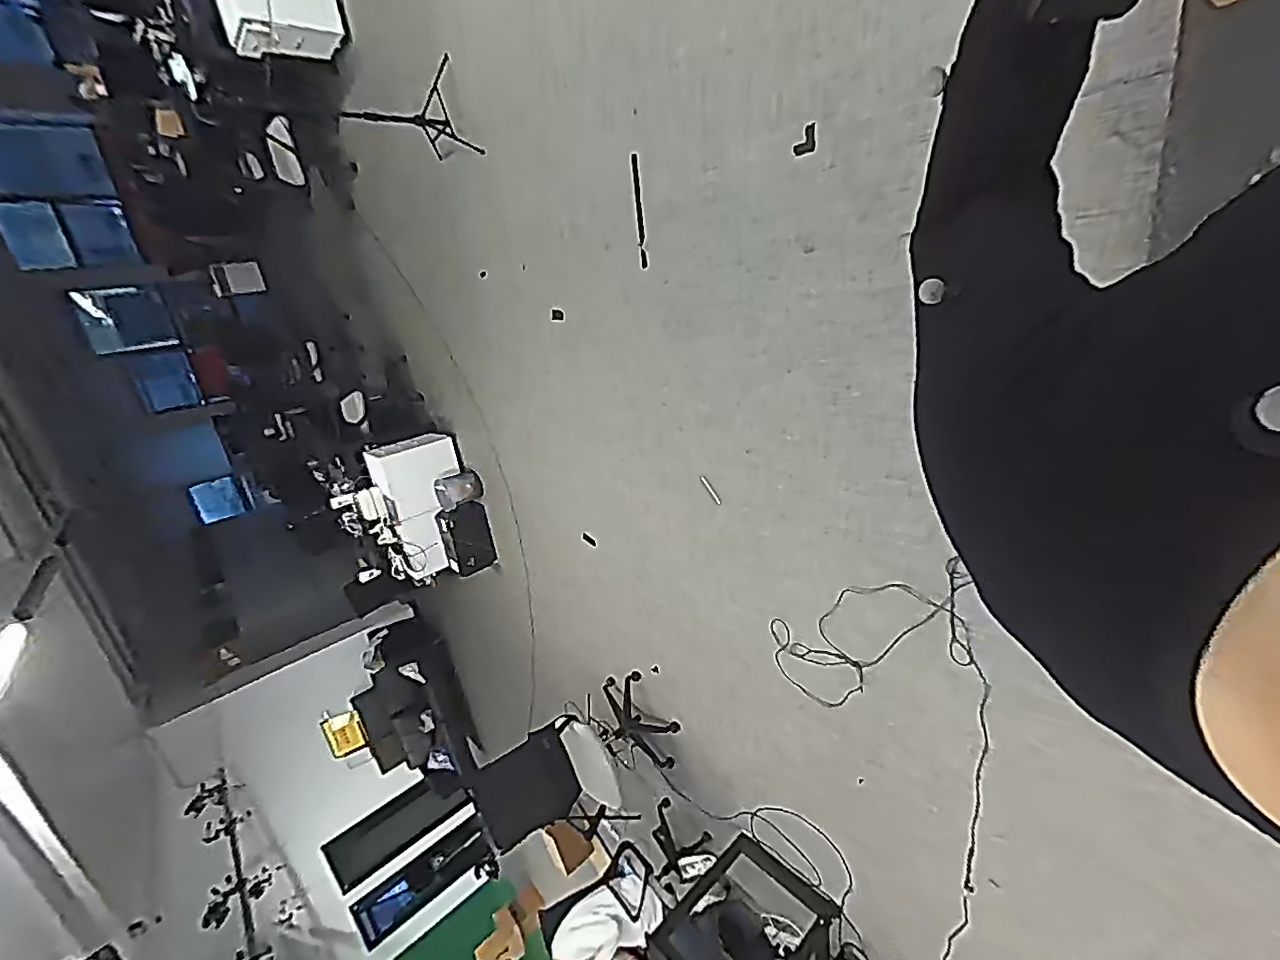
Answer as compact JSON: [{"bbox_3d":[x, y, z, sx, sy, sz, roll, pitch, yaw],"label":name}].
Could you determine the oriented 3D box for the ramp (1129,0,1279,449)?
[{"bbox_3d":[1.137,-0.486,0.834,0.509,0.206,0.991,11,118,47],"label":"ramp"}]
